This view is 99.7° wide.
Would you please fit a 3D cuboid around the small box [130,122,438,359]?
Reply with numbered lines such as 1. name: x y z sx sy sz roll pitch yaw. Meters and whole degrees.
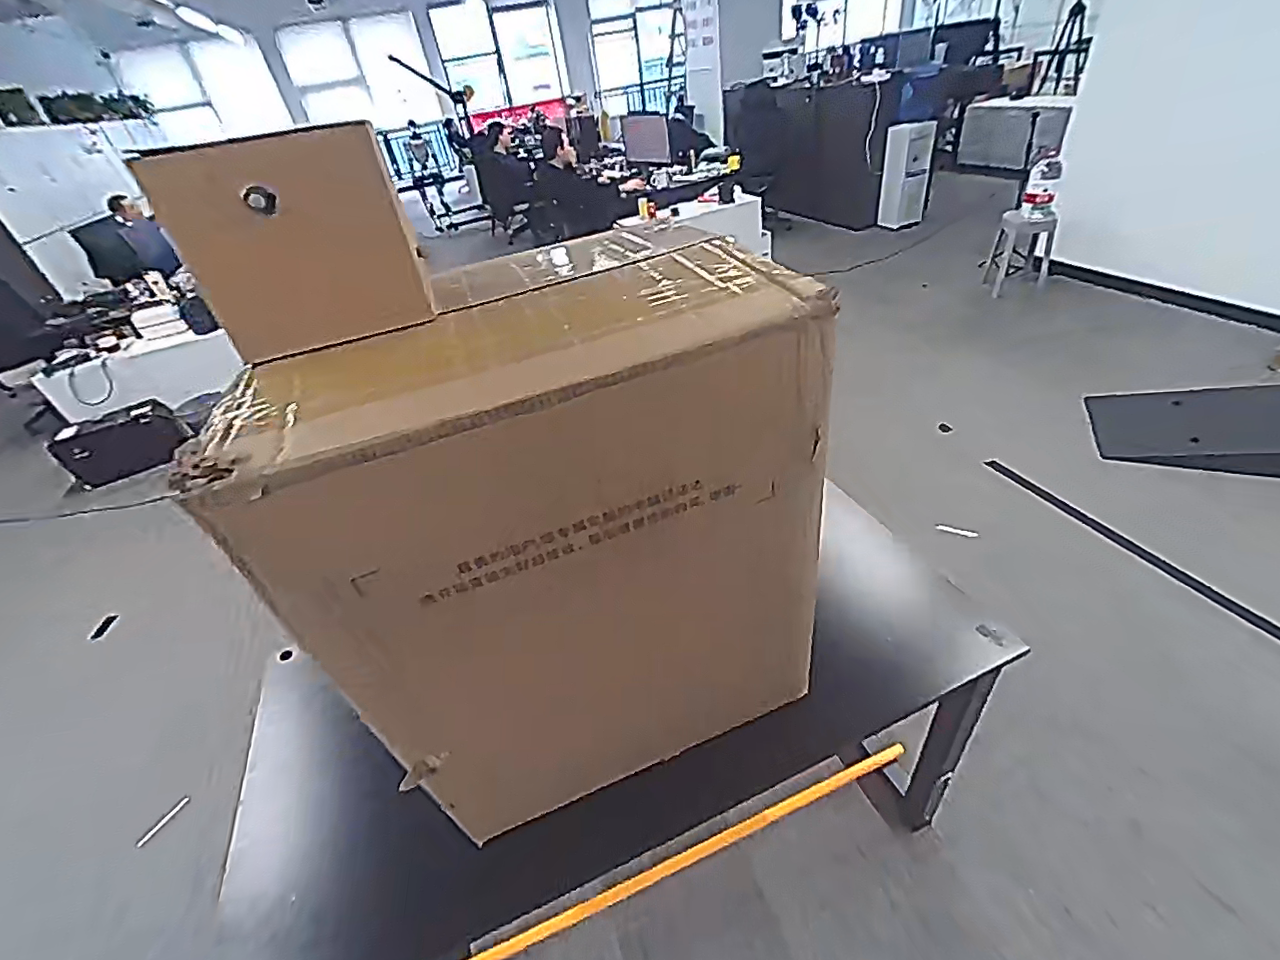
1. small box: -0.315 -0.233 0.527 0.179 0.176 0.168 -18 36 -12
